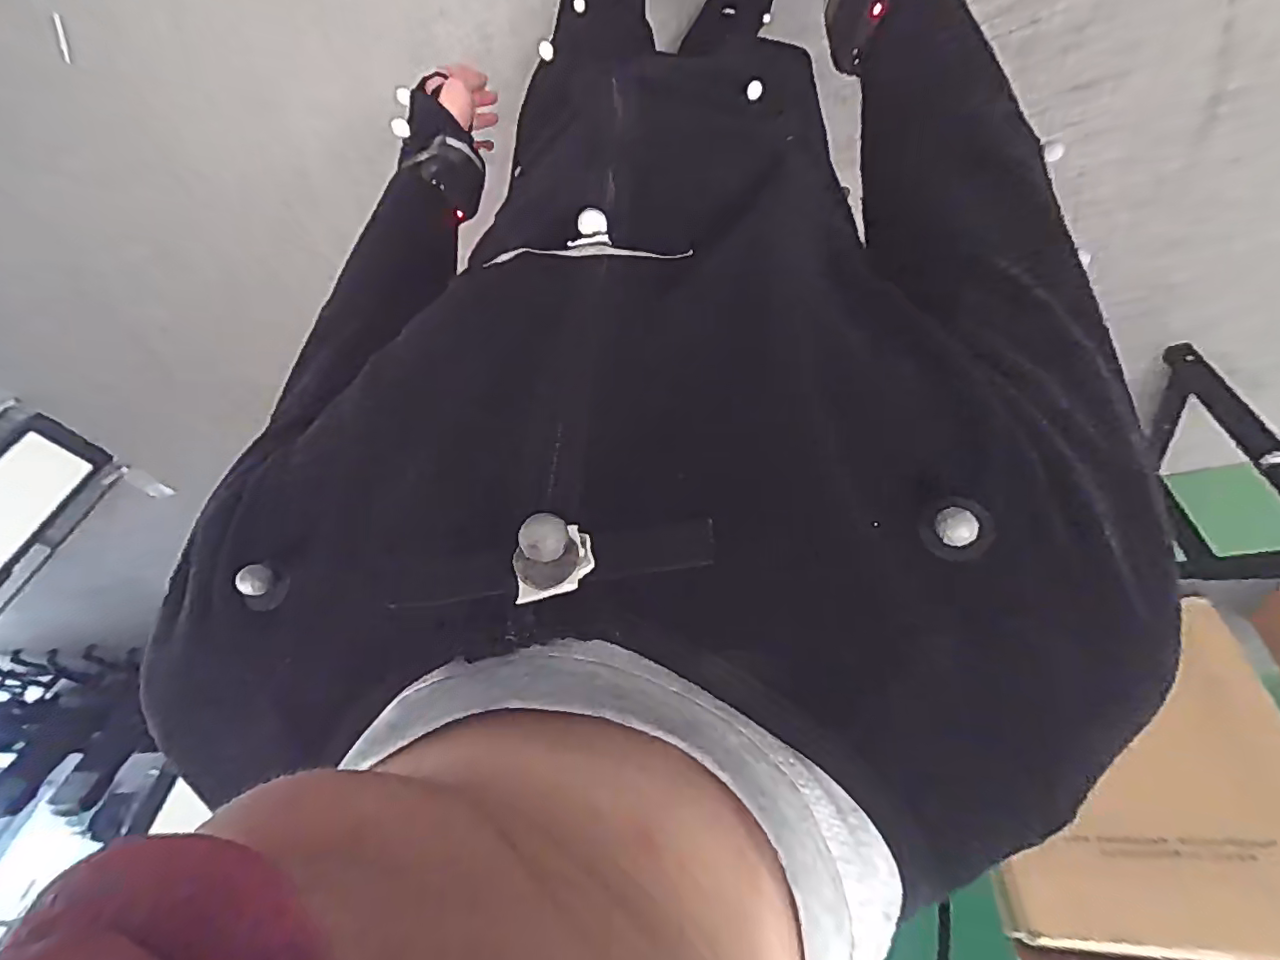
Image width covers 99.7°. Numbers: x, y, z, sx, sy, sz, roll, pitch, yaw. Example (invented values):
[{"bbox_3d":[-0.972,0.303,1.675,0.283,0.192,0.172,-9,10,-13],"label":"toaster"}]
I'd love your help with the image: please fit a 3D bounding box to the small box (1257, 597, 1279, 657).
[{"bbox_3d":[1.476,0.333,1.136,0.168,0.176,0.179,-11,139,22],"label":"small box"}]
